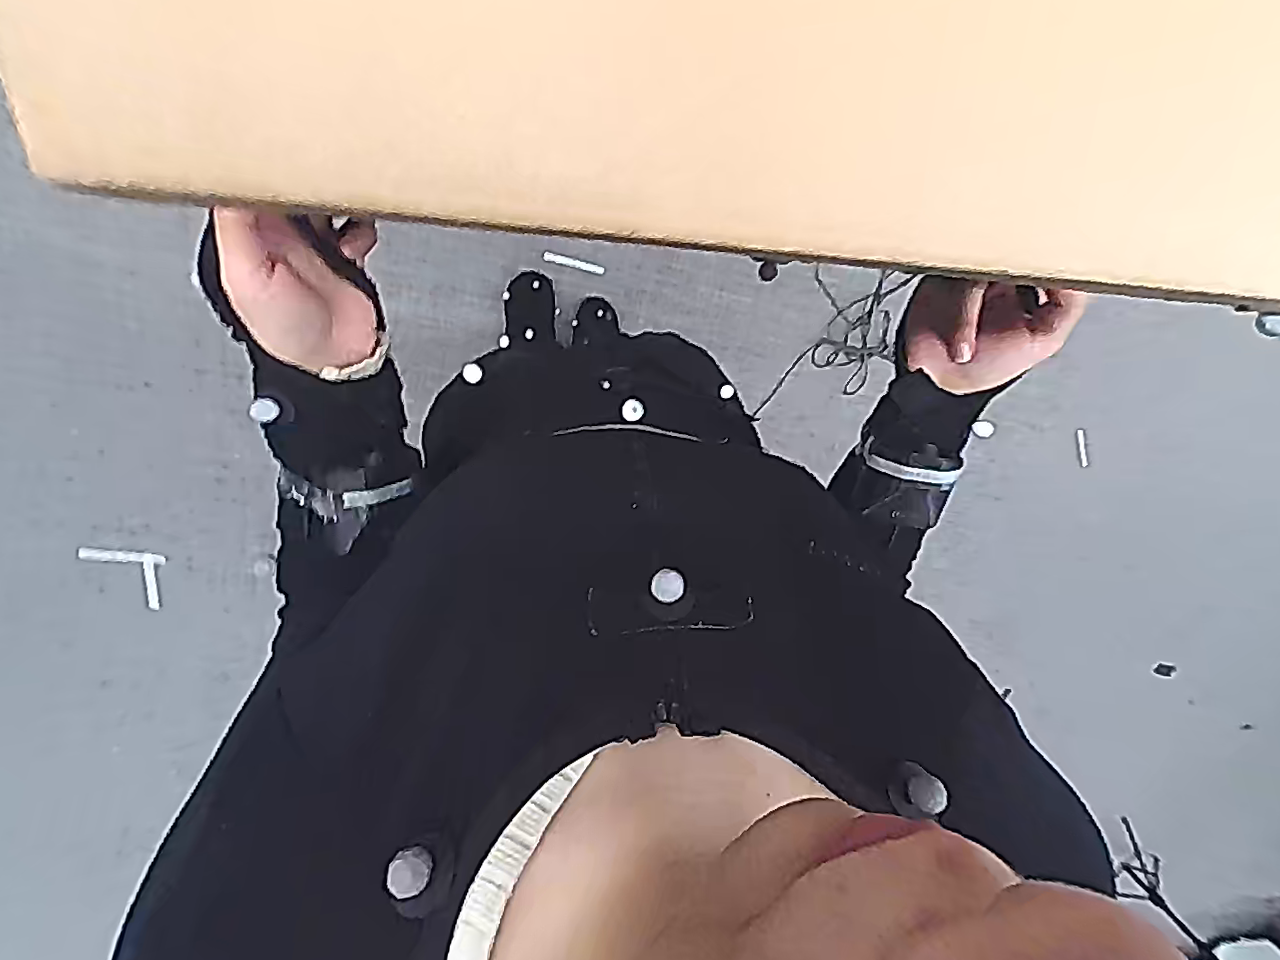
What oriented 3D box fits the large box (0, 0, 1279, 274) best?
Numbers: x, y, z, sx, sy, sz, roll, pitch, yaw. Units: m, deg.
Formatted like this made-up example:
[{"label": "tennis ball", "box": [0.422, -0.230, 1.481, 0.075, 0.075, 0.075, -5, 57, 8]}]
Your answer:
[{"label": "large box", "box": [0.022, -0.275, 0.233, 0.408, 0.320, 0.320, 1, 116, -7]}]
